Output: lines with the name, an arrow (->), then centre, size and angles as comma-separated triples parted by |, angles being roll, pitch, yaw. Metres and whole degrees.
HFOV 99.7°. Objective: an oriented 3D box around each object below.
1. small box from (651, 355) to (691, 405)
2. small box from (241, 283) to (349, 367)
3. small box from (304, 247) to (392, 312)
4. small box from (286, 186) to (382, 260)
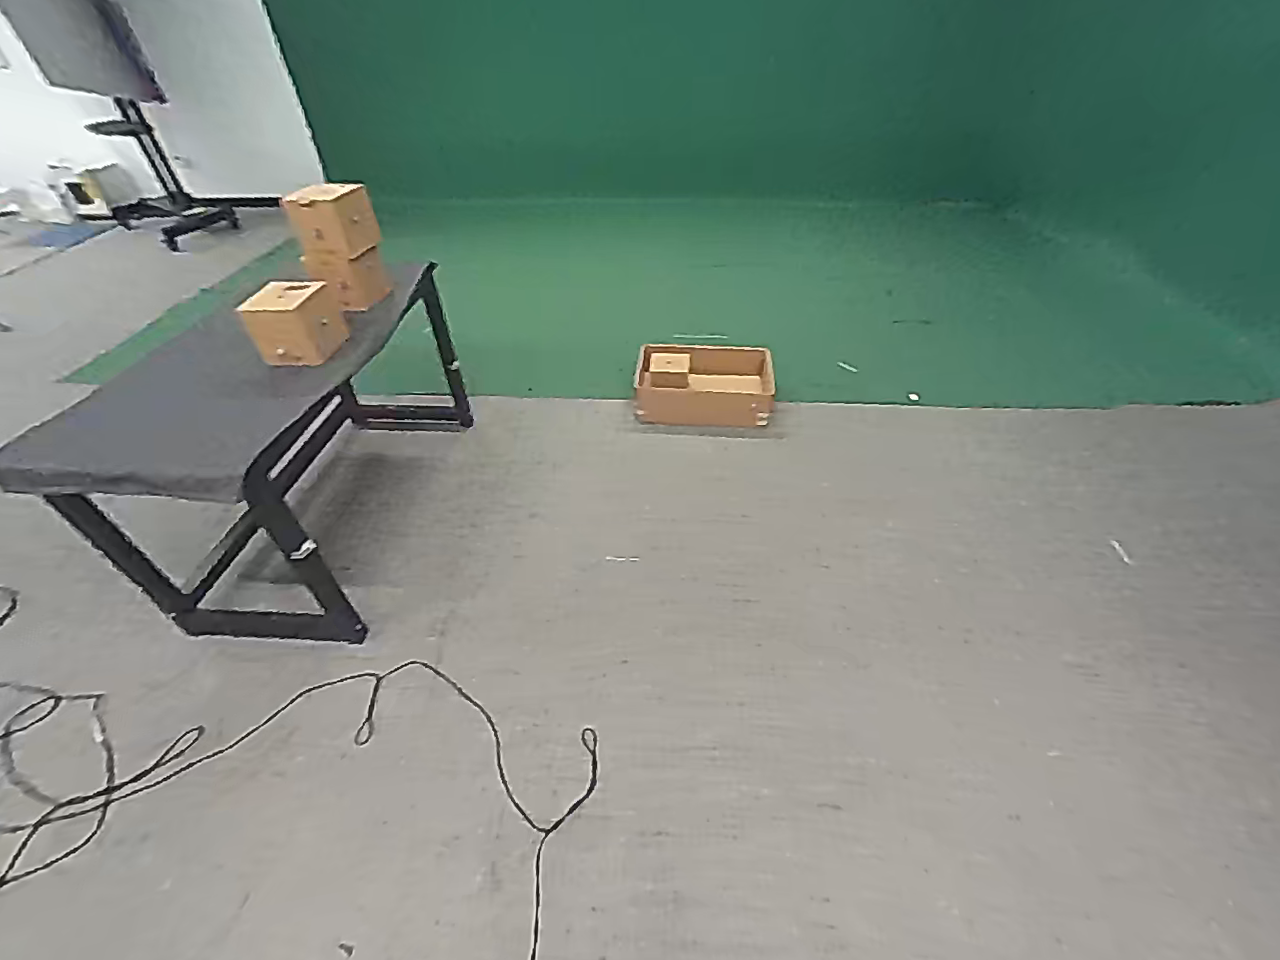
small box -> 0.144, -0.468, 2.533 | 0.179, 0.176, 0.168 | 4, 44, 4
small box -> -0.947, -0.433, 1.510 | 0.168, 0.176, 0.179 | 1, 44, 5
small box -> -0.941, -0.660, 1.763 | 0.168, 0.176, 0.179 | 5, 42, 6
small box -> -0.927, -0.789, 1.660 | 0.168, 0.176, 0.179 | 6, 43, 9
